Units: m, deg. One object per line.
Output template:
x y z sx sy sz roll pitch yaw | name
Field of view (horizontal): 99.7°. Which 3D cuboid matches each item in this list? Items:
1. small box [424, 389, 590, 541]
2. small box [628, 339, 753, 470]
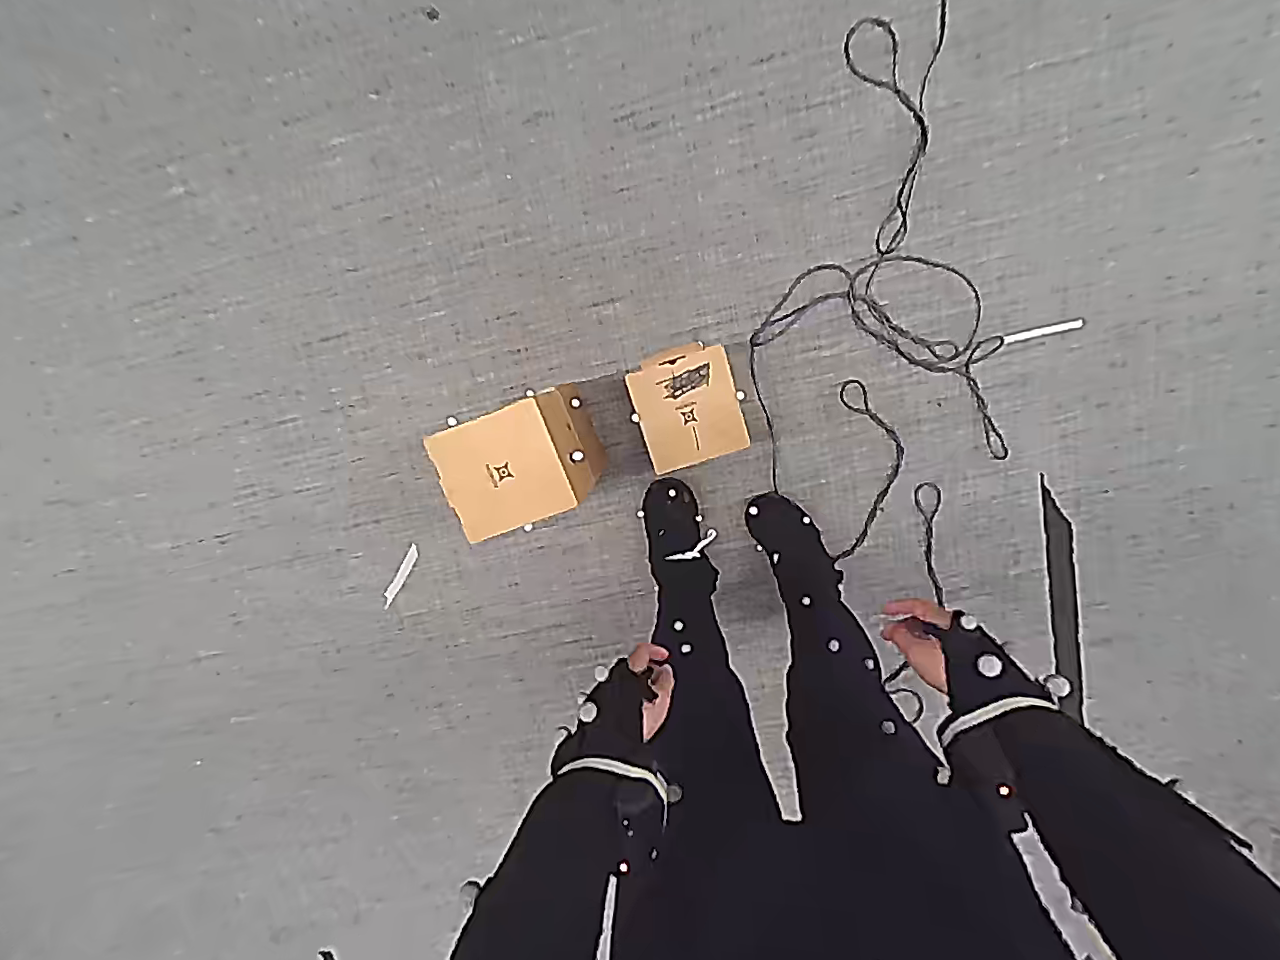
-0.185 -0.032 0.822 0.179 0.176 0.168 -20 100 9 | small box
0.086 -0.135 0.944 0.168 0.176 0.179 -16 102 9 | small box
